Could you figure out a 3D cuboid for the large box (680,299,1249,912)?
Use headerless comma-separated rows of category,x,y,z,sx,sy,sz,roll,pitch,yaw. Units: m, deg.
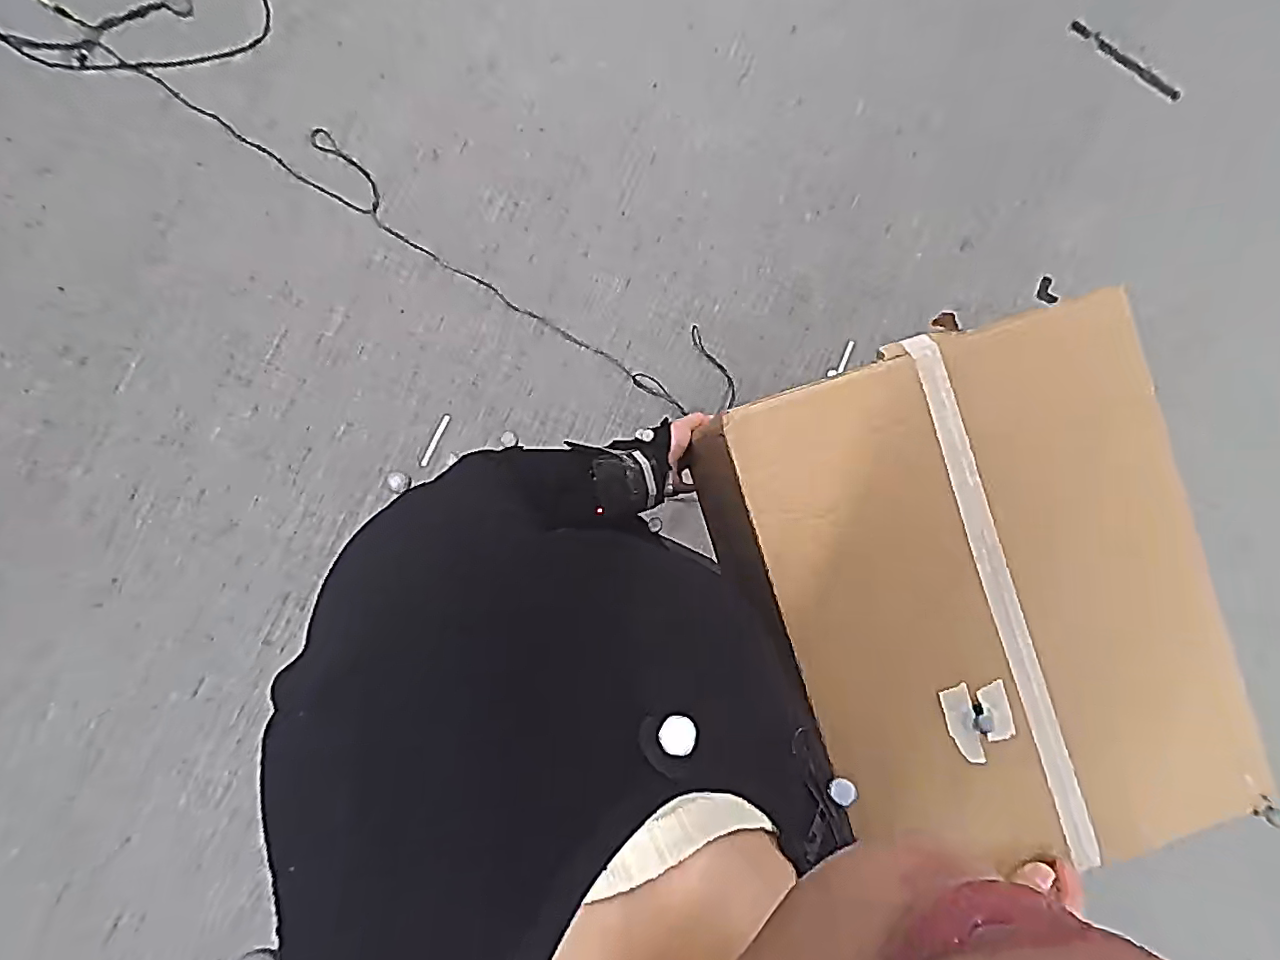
large box,0.260,0.092,0.557,0.320,0.320,0.408,-18,92,0
